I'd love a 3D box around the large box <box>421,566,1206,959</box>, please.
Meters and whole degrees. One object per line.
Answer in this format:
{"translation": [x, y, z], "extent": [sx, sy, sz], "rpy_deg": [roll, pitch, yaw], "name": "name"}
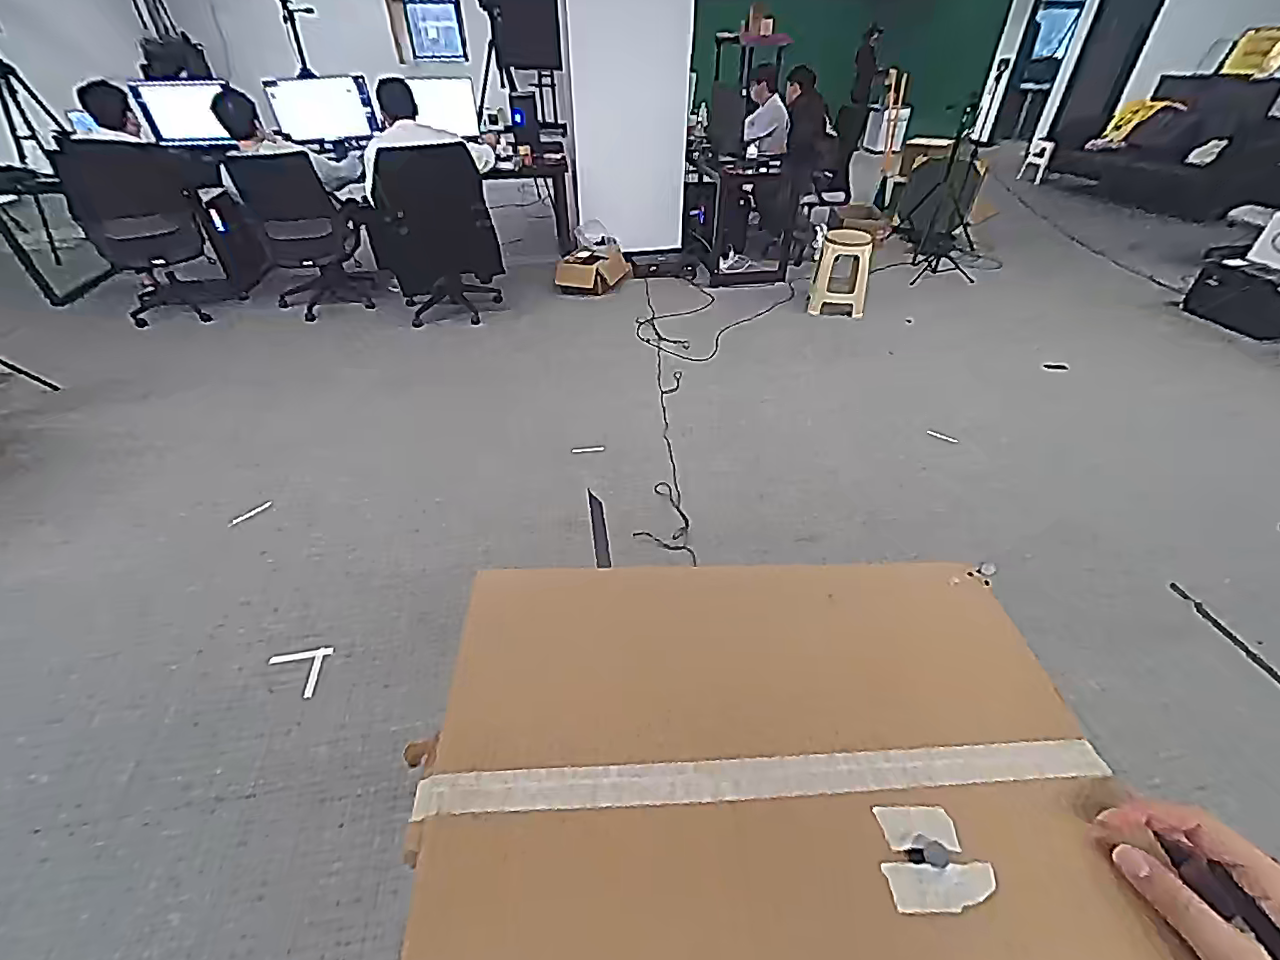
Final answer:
{"translation": [0.073, 0.285, 0.432], "extent": [0.408, 0.320, 0.320], "rpy_deg": [1, 44, -6], "name": "large box"}
